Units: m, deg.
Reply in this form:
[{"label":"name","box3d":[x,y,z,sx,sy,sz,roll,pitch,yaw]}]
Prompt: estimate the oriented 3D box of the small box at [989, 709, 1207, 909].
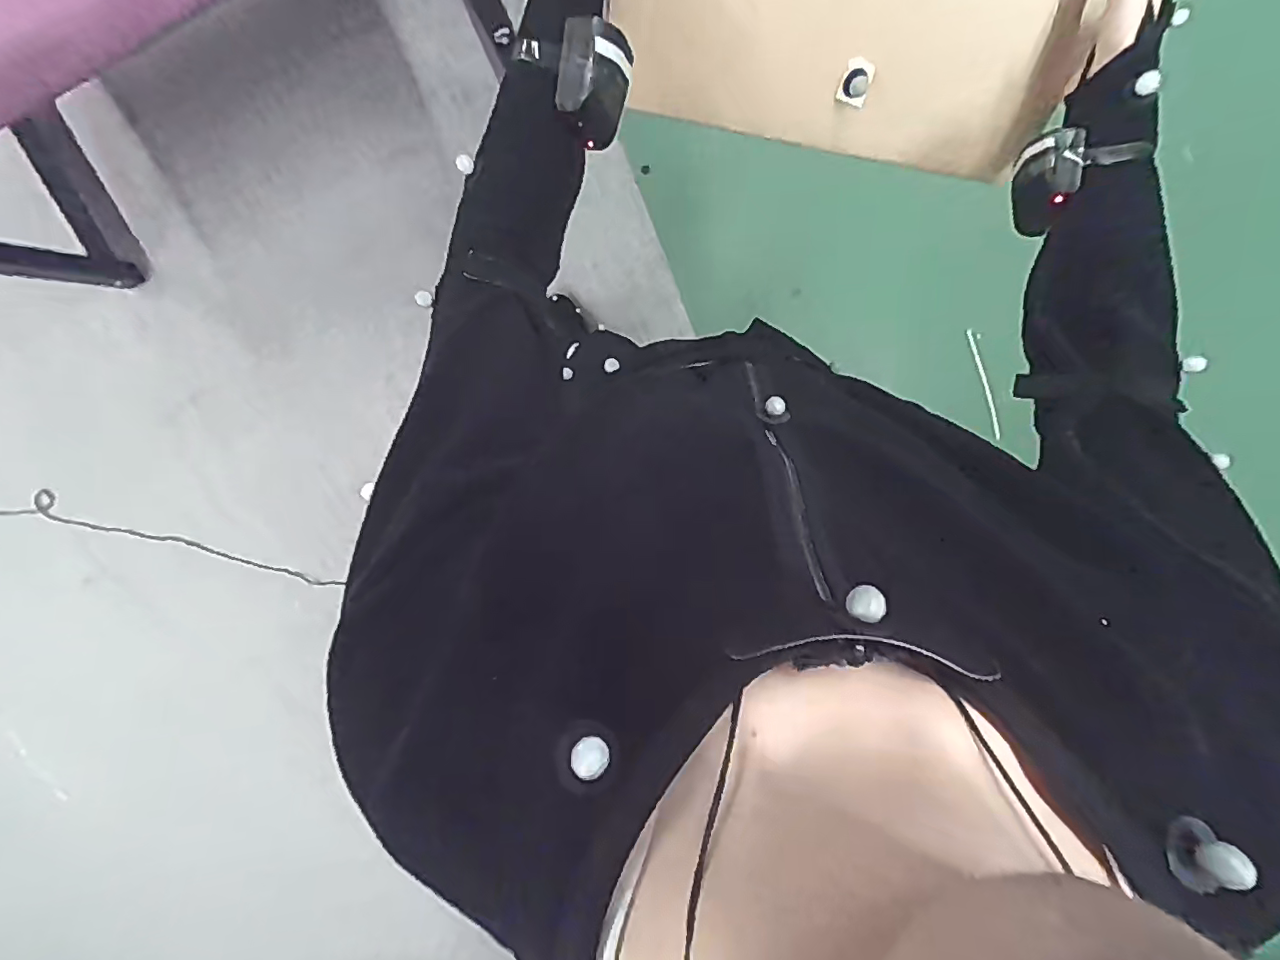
[{"label":"small box","box3d":[0.616,0.439,0.751,0.168,0.176,0.179,-6,100,2]}]
